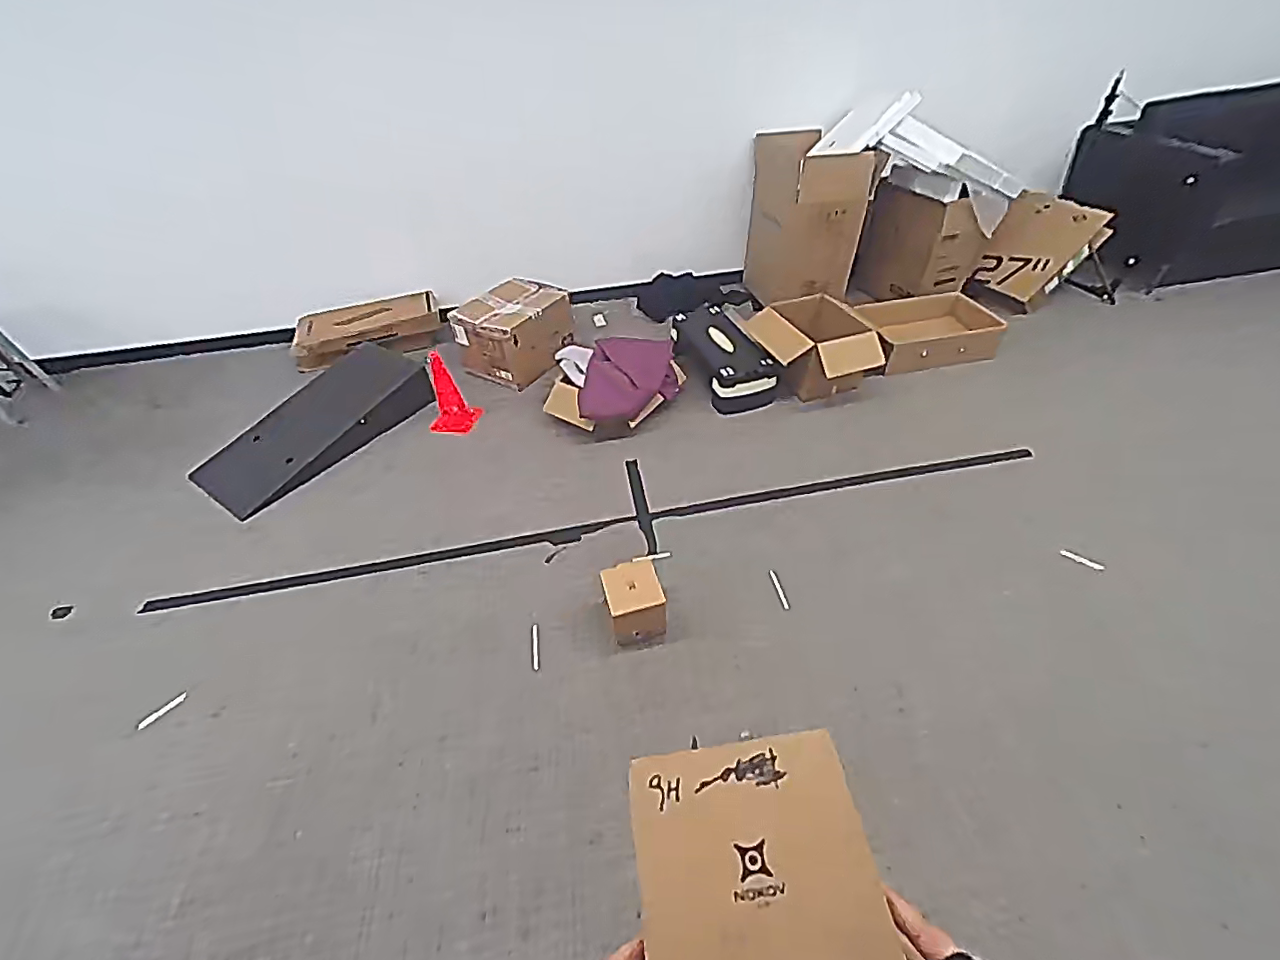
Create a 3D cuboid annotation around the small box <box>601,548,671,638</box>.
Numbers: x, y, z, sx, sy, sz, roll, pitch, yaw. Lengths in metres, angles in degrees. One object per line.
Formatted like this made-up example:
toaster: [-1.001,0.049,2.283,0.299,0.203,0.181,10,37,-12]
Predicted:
small box: [-0.013,0.333,1.592,0.168,0.176,0.179,-14,46,-10]
